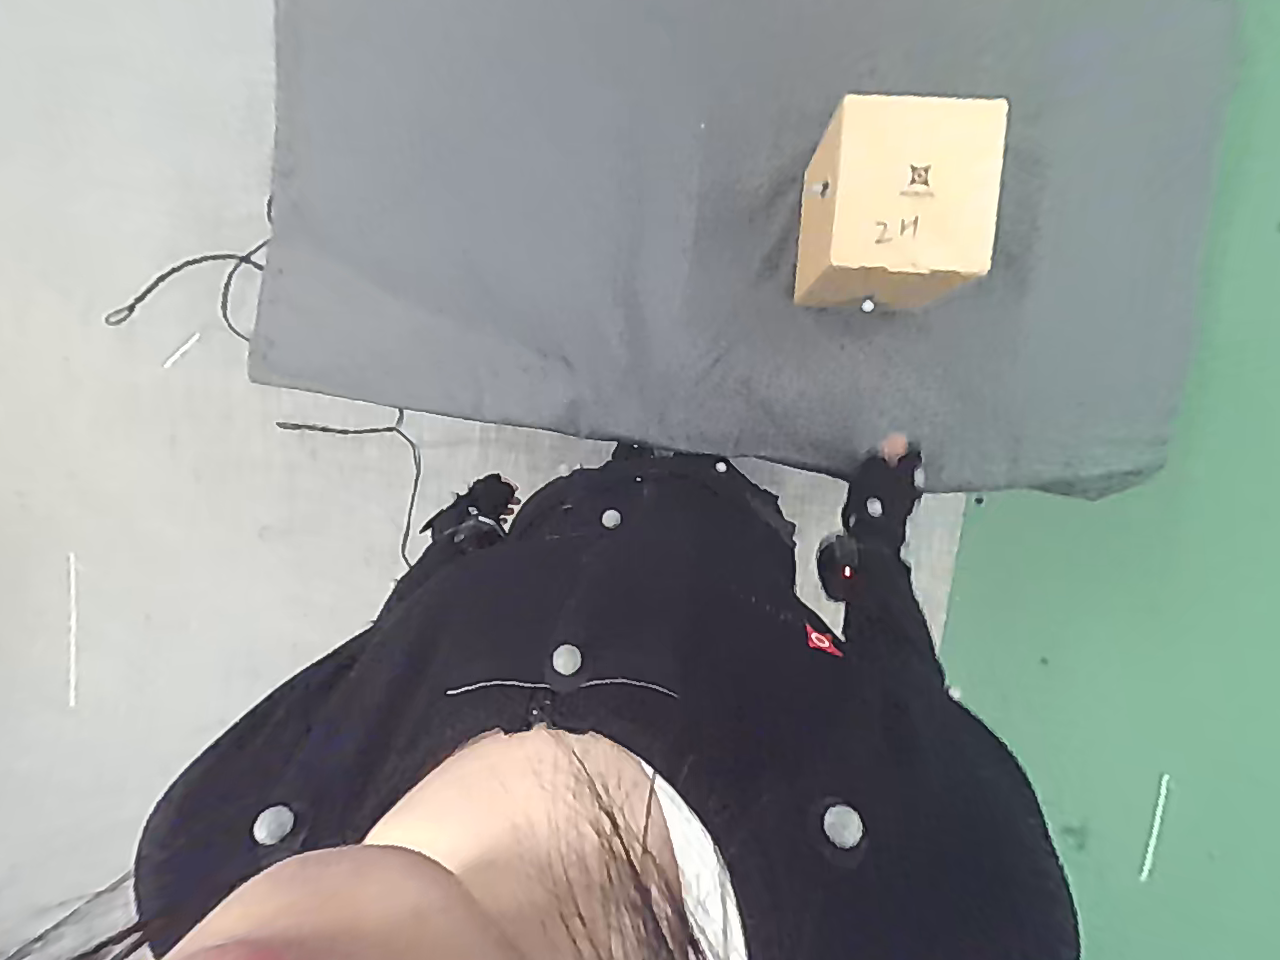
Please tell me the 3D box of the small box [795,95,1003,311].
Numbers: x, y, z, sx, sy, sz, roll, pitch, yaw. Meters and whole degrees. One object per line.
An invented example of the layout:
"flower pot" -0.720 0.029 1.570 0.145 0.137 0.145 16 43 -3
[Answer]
"small box" 0.291 -0.315 0.646 0.168 0.176 0.179 5 95 3
